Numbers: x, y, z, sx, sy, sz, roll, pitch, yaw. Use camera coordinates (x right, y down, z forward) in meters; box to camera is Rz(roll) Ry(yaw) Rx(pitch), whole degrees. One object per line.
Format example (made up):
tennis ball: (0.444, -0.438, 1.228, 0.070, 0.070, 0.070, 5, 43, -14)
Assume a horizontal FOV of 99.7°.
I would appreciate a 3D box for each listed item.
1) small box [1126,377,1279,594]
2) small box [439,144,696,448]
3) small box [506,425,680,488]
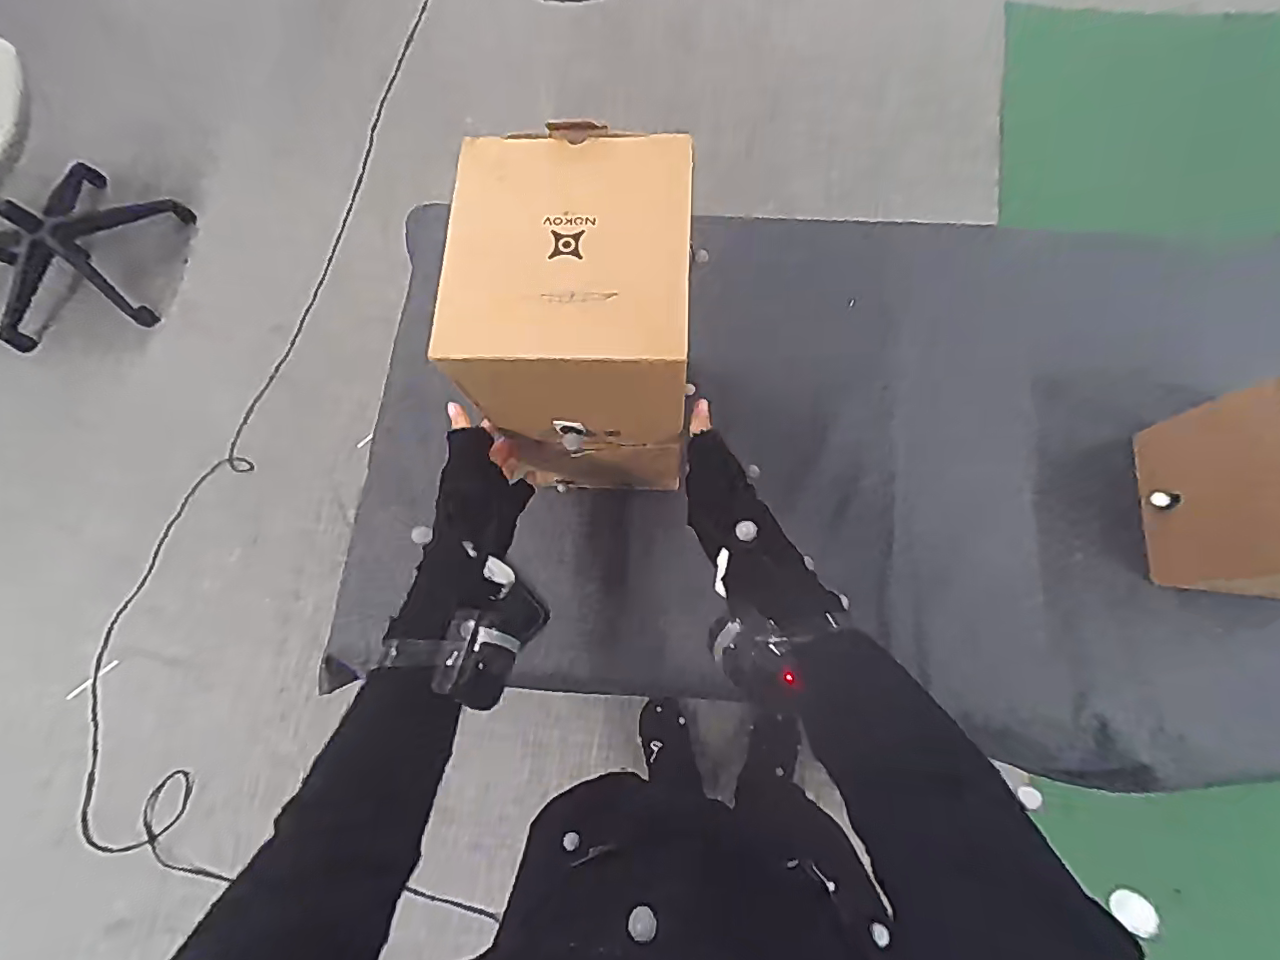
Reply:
small box: (0.637, 0.017, 0.534, 0.168, 0.176, 0.179, 5, 75, 4)
small box: (-0.042, -0.135, 0.442, 0.168, 0.176, 0.179, 1, 76, 4)
small box: (-0.037, -0.093, 0.598, 0.168, 0.176, 0.179, 2, 74, 3)
